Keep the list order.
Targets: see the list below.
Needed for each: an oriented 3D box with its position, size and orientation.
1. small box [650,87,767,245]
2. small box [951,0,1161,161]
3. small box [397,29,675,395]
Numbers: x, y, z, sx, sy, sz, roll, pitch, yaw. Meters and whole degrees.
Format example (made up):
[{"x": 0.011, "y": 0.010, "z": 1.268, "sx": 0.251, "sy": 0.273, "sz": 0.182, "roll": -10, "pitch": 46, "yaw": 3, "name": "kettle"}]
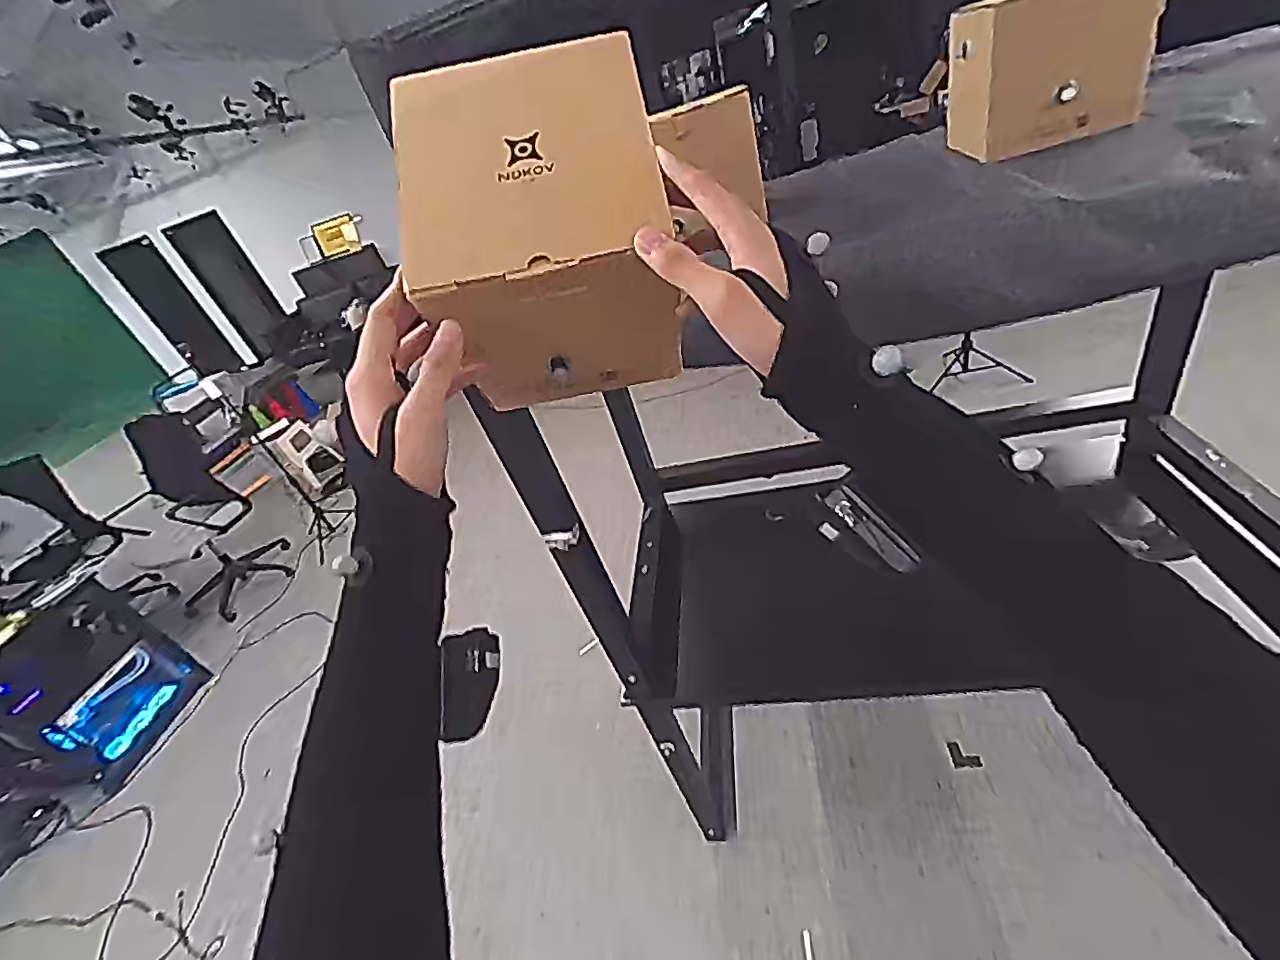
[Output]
[{"x": 0.097, "y": -0.473, "z": 0.829, "sx": 0.168, "sy": 0.176, "sz": 0.179, "roll": -9, "pitch": 35, "yaw": 15, "name": "small box"}, {"x": 0.518, "y": -0.536, "z": 0.702, "sx": 0.168, "sy": 0.176, "sz": 0.179, "roll": -9, "pitch": 36, "yaw": 17, "name": "small box"}, {"x": -0.068, "y": -0.190, "z": 0.421, "sx": 0.168, "sy": 0.176, "sz": 0.179, "roll": -11, "pitch": 73, "yaw": 1, "name": "small box"}]
